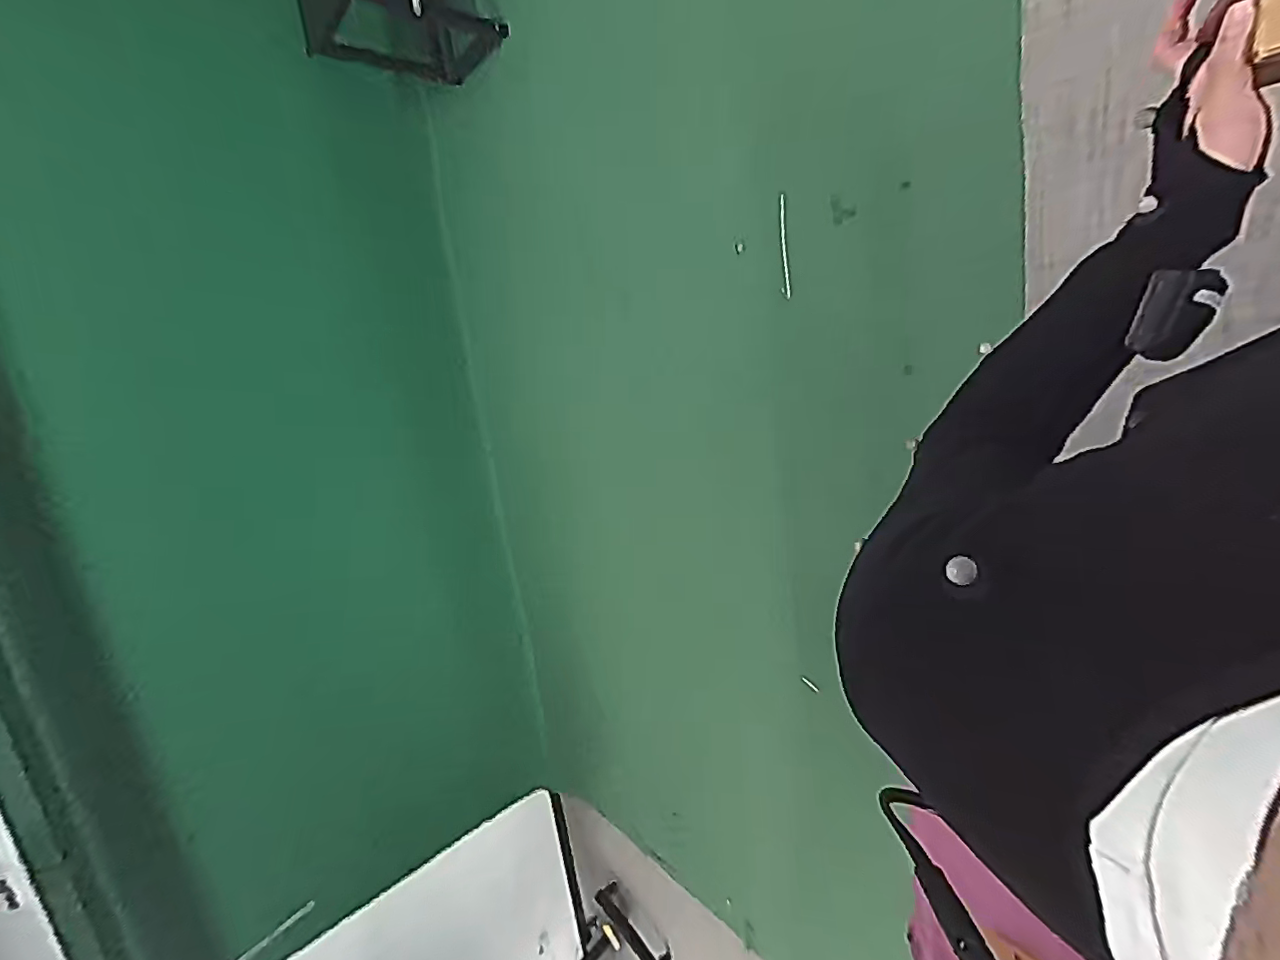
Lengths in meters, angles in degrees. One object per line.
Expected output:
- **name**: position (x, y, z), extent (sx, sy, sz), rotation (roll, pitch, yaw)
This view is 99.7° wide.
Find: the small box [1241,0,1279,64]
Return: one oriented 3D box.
- **small box**: position (0.470, -0.370, 0.303), extent (0.168, 0.176, 0.179), rotation (6, 113, 46)
